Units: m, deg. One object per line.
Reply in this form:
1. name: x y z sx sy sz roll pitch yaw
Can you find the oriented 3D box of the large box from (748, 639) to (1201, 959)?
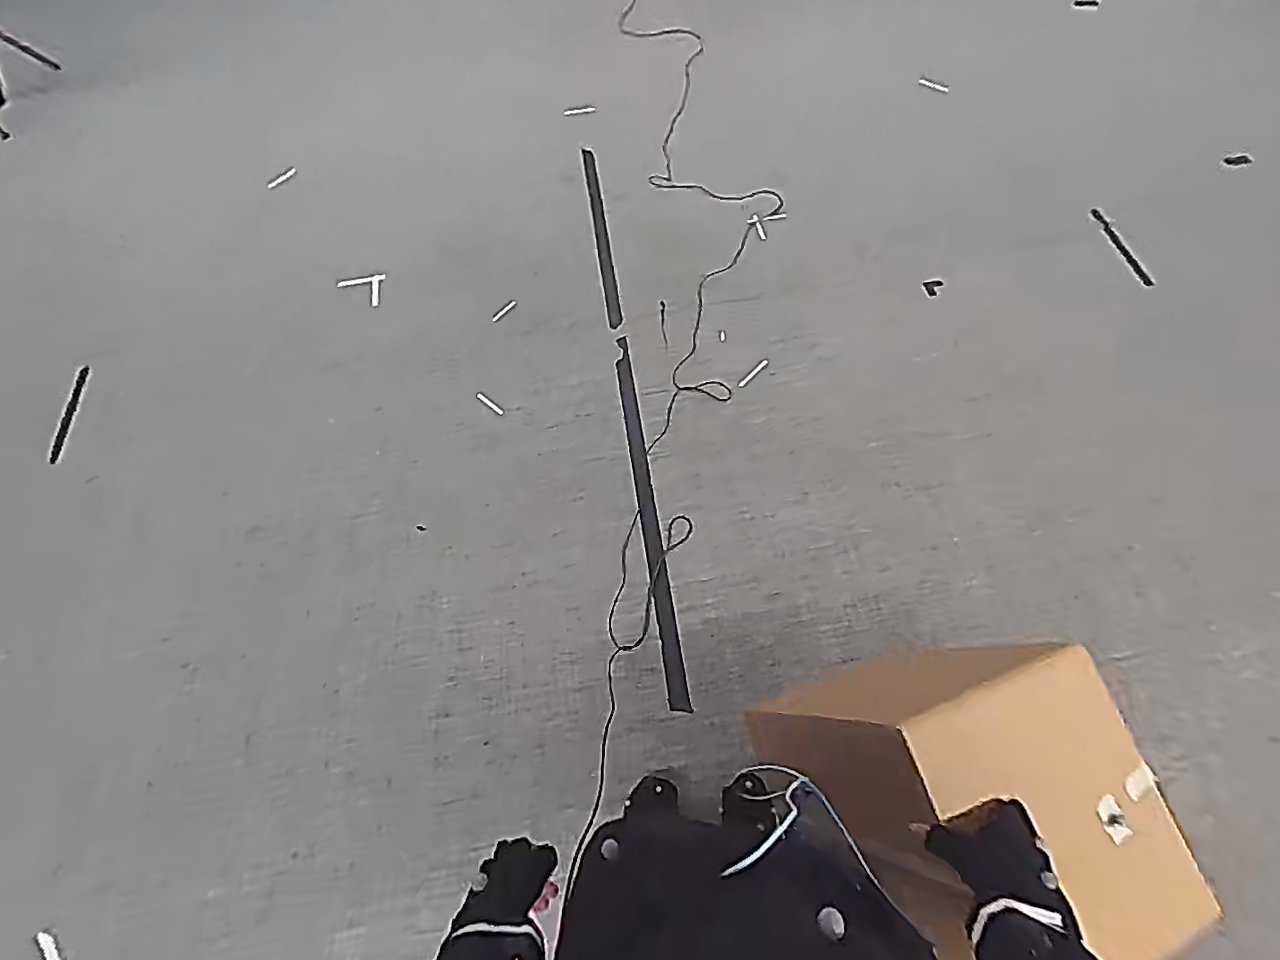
1. large box: 0.423 0.452 0.791 0.320 0.408 0.320 -15 73 -19
